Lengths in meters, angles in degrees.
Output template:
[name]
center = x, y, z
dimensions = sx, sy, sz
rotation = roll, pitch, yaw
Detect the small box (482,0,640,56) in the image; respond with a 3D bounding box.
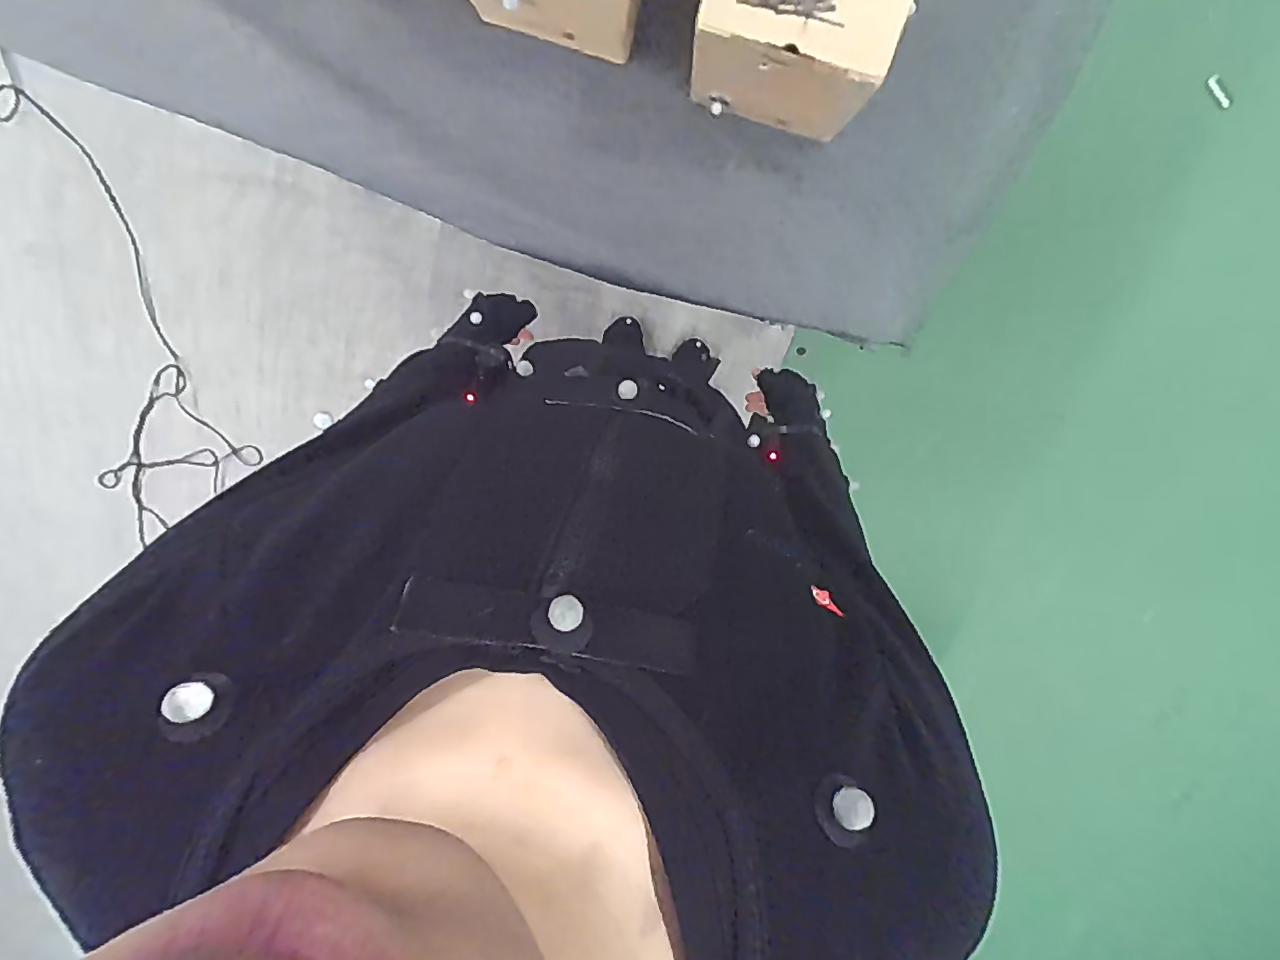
[small box]
center = -0.074, -0.531, 0.485
dimensions = 0.168, 0.176, 0.179
rotation = 16, 107, -2
